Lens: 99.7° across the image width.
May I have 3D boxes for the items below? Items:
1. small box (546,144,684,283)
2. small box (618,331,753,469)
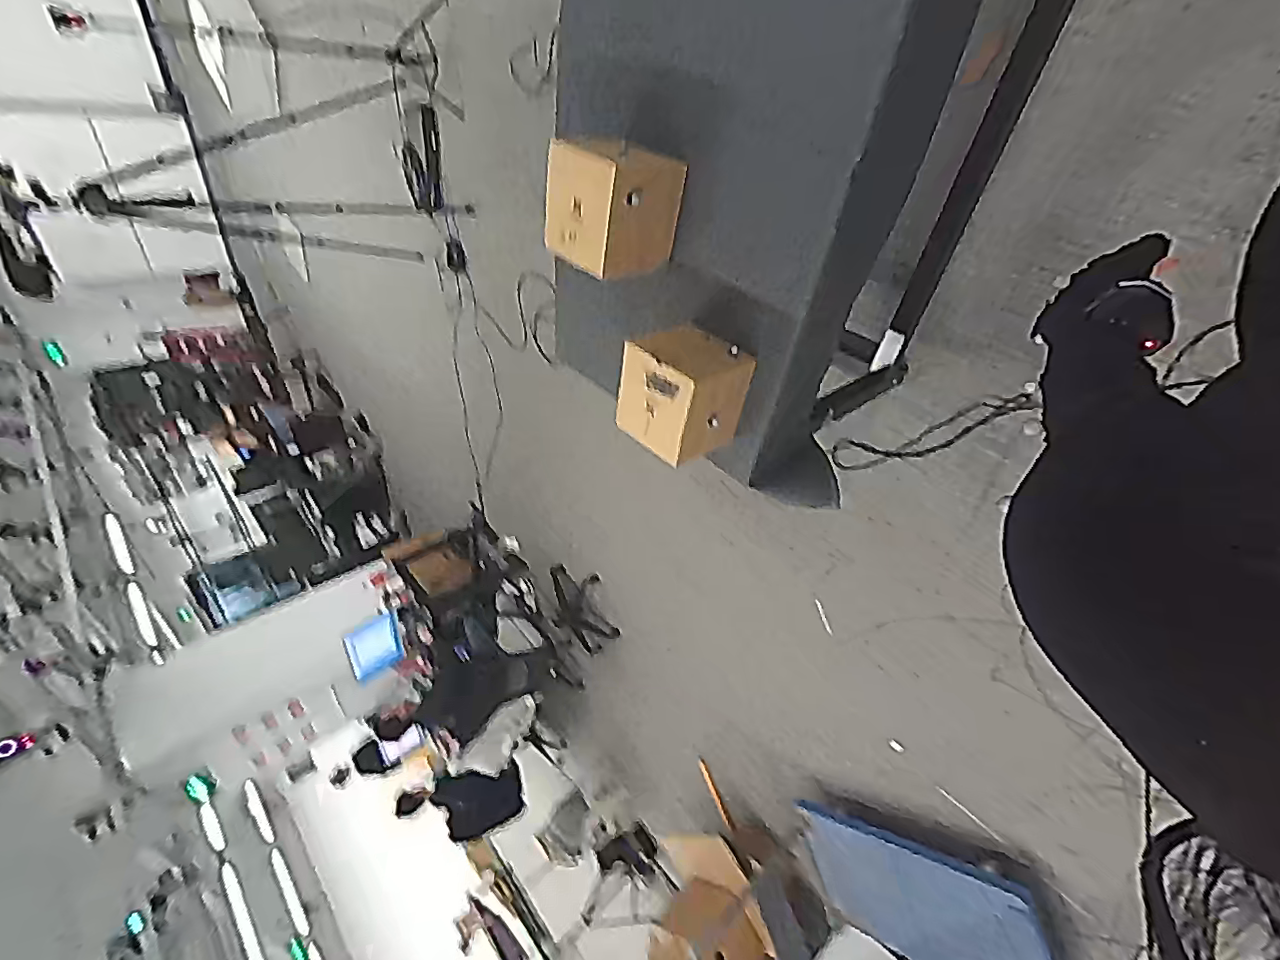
[{"bbox_3d":[-0.044,-0.473,0.954,0.168,0.176,0.179,38,136,29],"label":"small box"},{"bbox_3d":[0.083,-0.155,0.991,0.168,0.176,0.179,38,136,31],"label":"small box"}]
